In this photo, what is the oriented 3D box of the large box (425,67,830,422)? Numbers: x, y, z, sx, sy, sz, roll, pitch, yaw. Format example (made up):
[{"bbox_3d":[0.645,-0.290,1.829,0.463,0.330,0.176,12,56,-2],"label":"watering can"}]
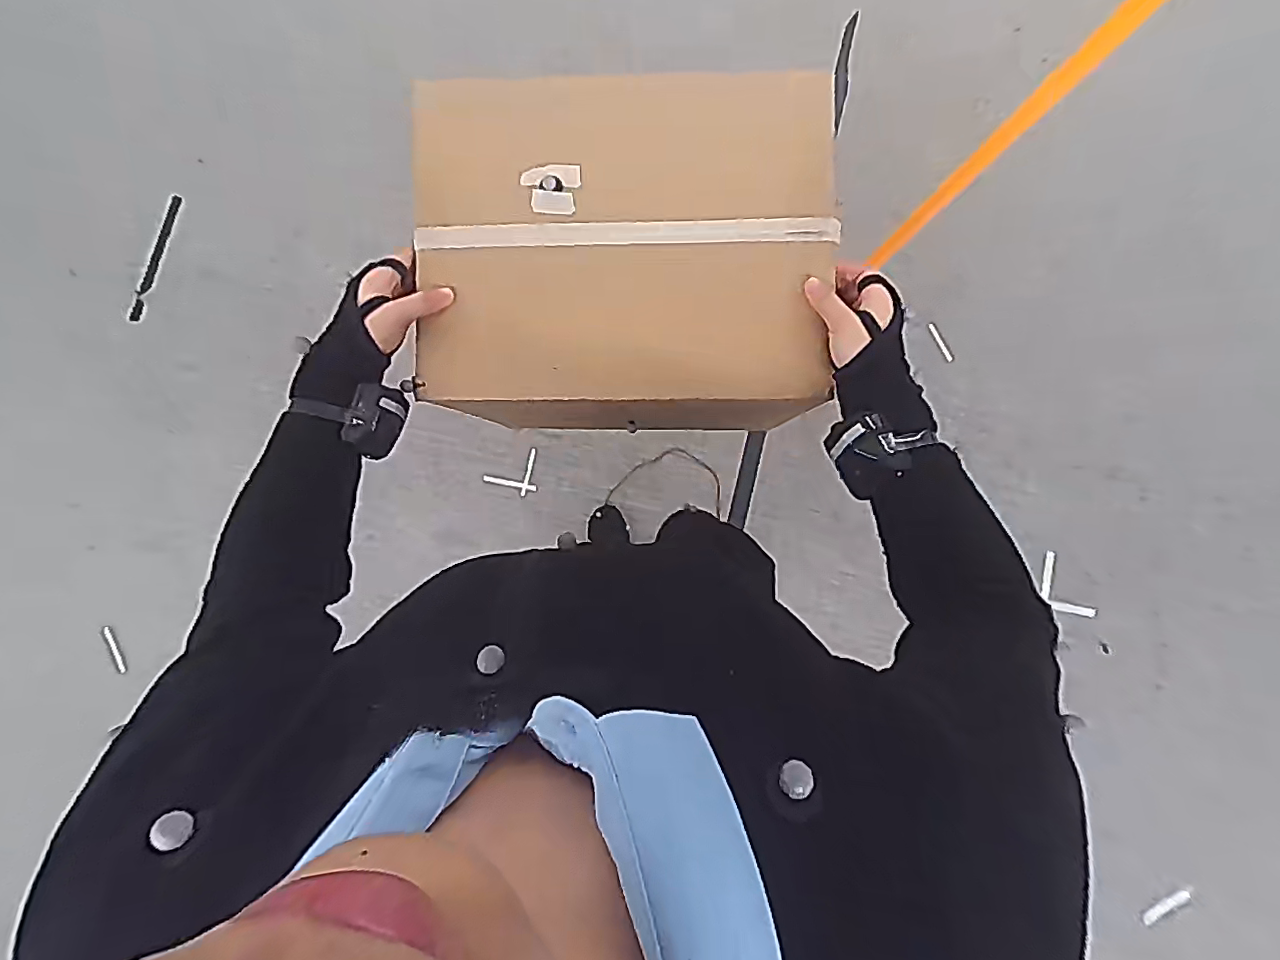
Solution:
[{"bbox_3d":[-0.006,-0.240,0.678,0.408,0.320,0.320,0,89,4],"label":"large box"}]
